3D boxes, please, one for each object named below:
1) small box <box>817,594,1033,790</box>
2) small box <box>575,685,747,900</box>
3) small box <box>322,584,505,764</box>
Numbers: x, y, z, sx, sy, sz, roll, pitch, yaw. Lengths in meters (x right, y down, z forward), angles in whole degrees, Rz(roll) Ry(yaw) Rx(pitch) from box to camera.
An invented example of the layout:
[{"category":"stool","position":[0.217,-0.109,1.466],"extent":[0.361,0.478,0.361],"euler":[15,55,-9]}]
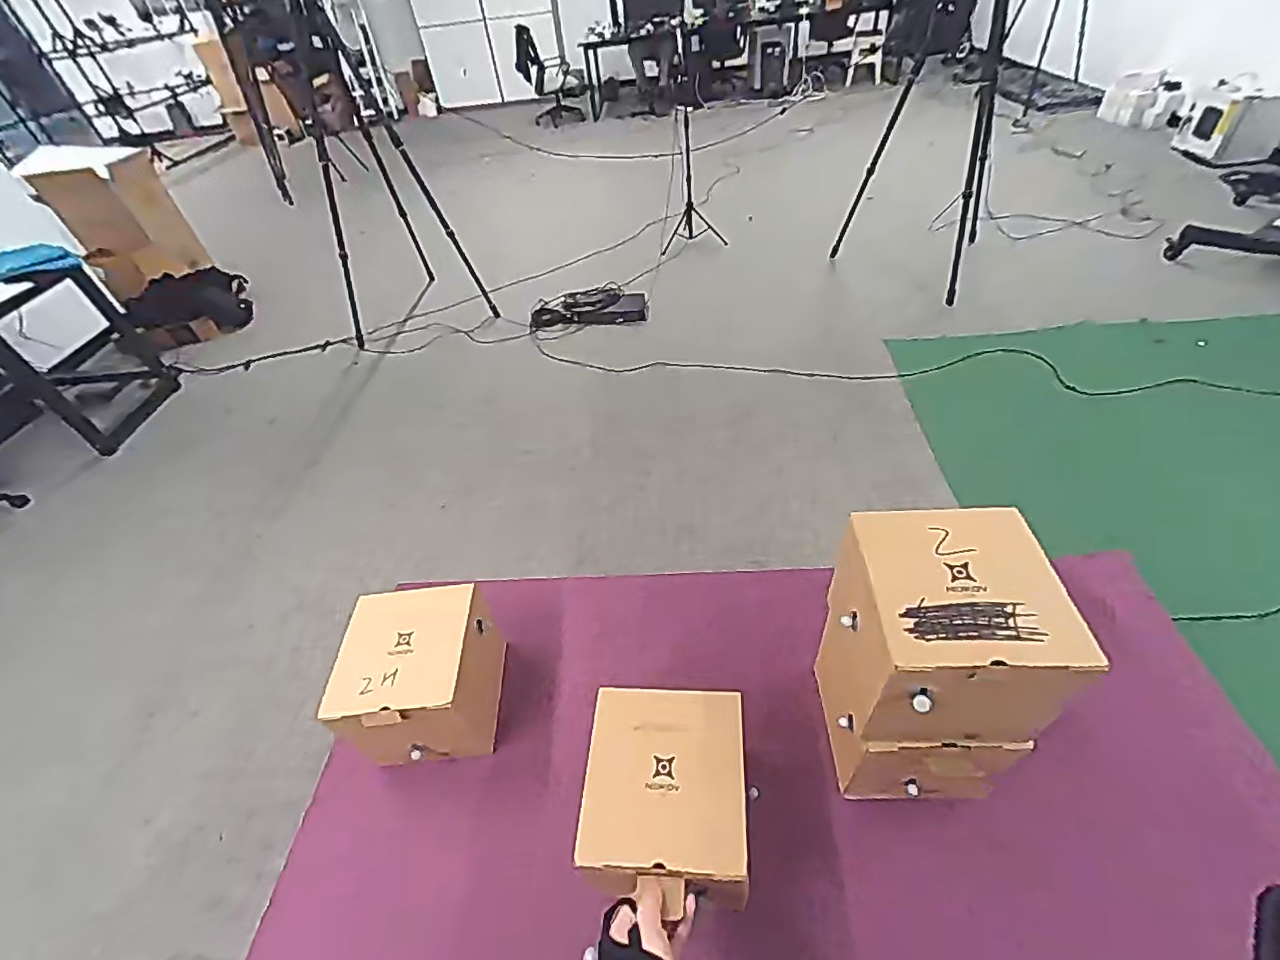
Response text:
[{"category":"small box","position":[0.325,0.262,0.666],"extent":[0.168,0.176,0.179],"euler":[-4,46,5]},{"category":"small box","position":[0.036,0.356,0.617],"extent":[0.168,0.176,0.179],"euler":[-1,45,9]},{"category":"small box","position":[-0.295,0.271,0.754],"extent":[0.168,0.176,0.179],"euler":[-7,45,2]}]
